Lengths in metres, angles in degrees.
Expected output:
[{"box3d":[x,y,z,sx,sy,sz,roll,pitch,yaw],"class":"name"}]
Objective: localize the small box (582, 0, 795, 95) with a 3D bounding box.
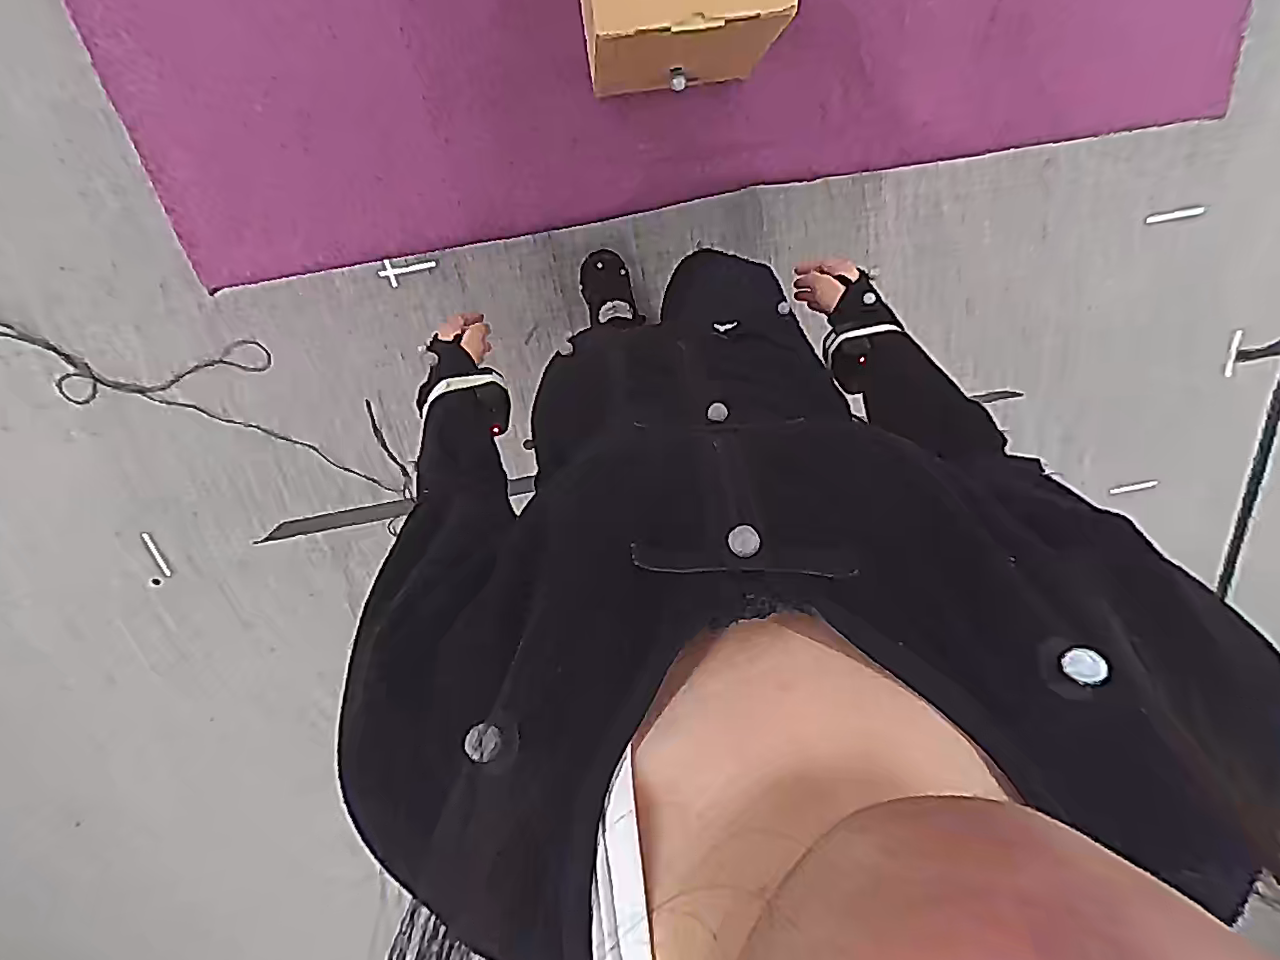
[{"box3d":[0.027,-0.475,0.476,0.168,0.176,0.179,-9,112,-1],"class":"small box"}]
